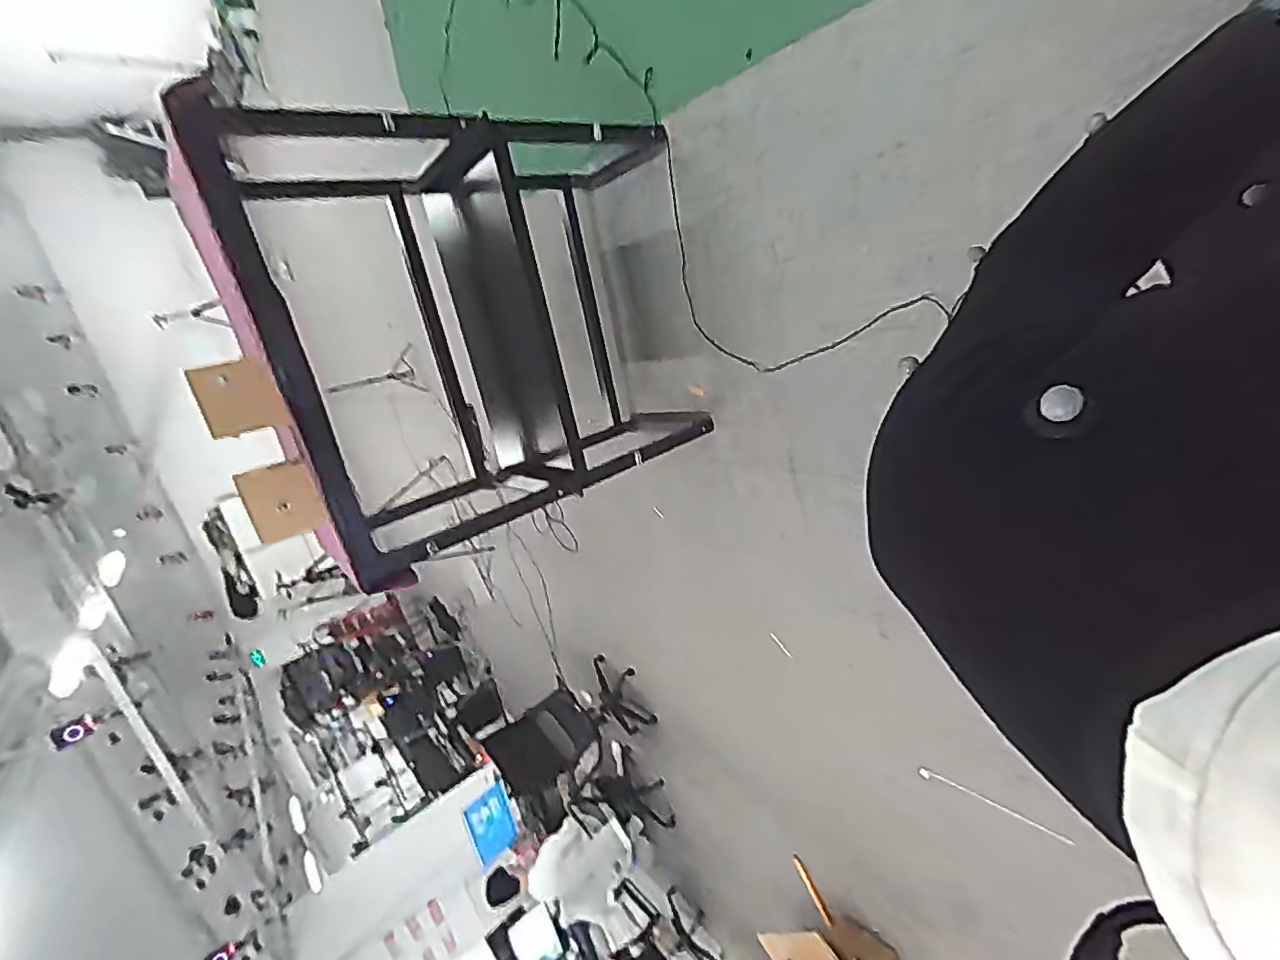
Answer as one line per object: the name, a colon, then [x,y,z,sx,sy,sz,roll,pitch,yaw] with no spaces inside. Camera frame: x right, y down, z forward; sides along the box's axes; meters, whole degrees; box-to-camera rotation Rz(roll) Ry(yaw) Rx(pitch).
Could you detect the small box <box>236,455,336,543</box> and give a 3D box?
small box: [-0.947,0.043,1.450,0.168,0.176,0.179,12,120,50]
